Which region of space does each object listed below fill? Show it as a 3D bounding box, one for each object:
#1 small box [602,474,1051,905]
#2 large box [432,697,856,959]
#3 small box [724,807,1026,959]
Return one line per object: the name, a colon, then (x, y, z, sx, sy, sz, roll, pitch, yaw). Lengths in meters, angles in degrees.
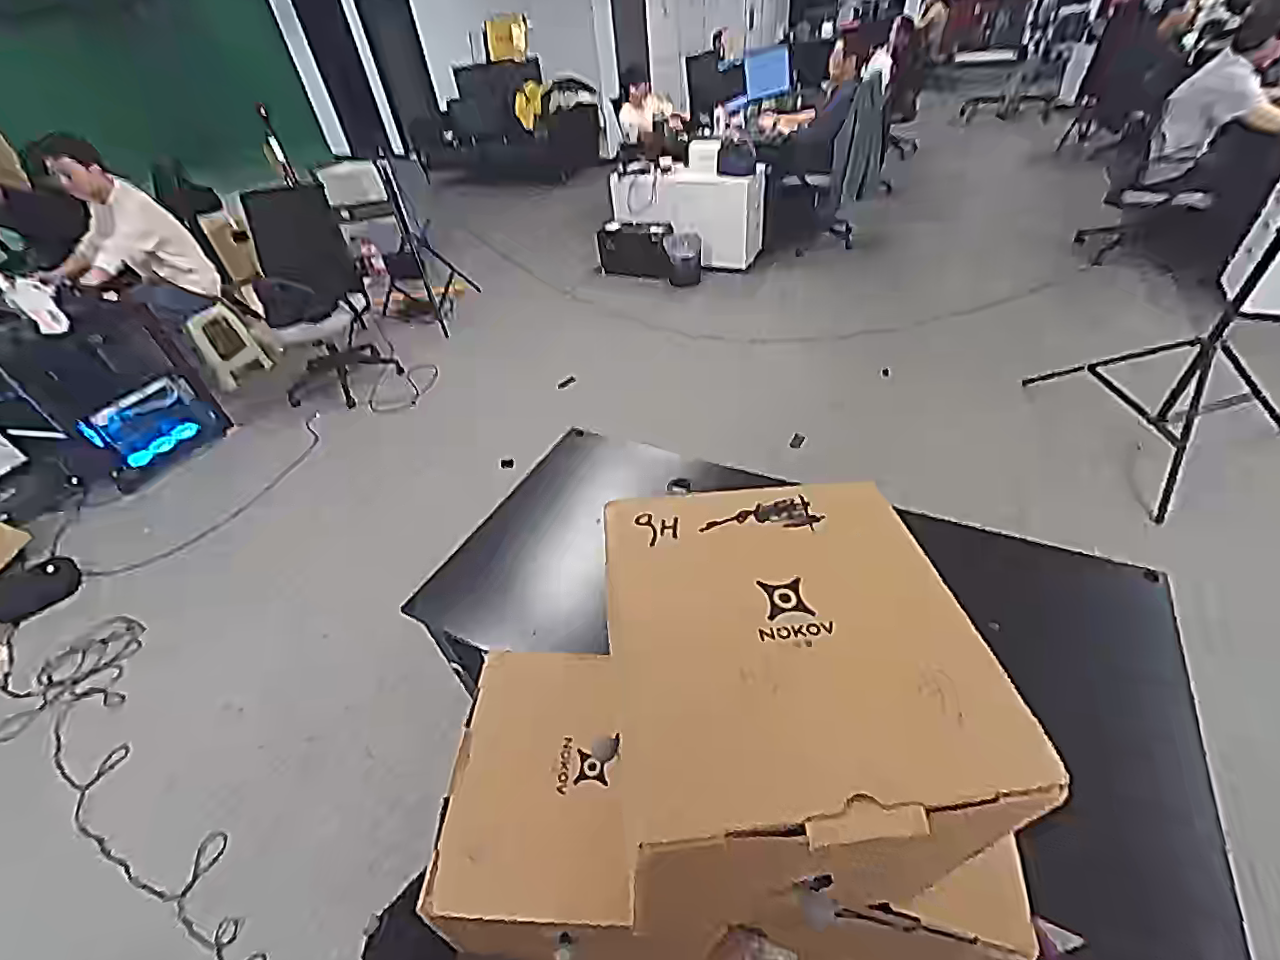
small box: (0.068, 0.120, 0.312, 0.168, 0.176, 0.179, -4, 42, -6)
large box: (0.035, 0.451, 0.551, 0.408, 0.320, 0.320, 4, 43, 2)
small box: (0.155, 0.243, 0.420, 0.168, 0.176, 0.179, 11, 41, 12)
